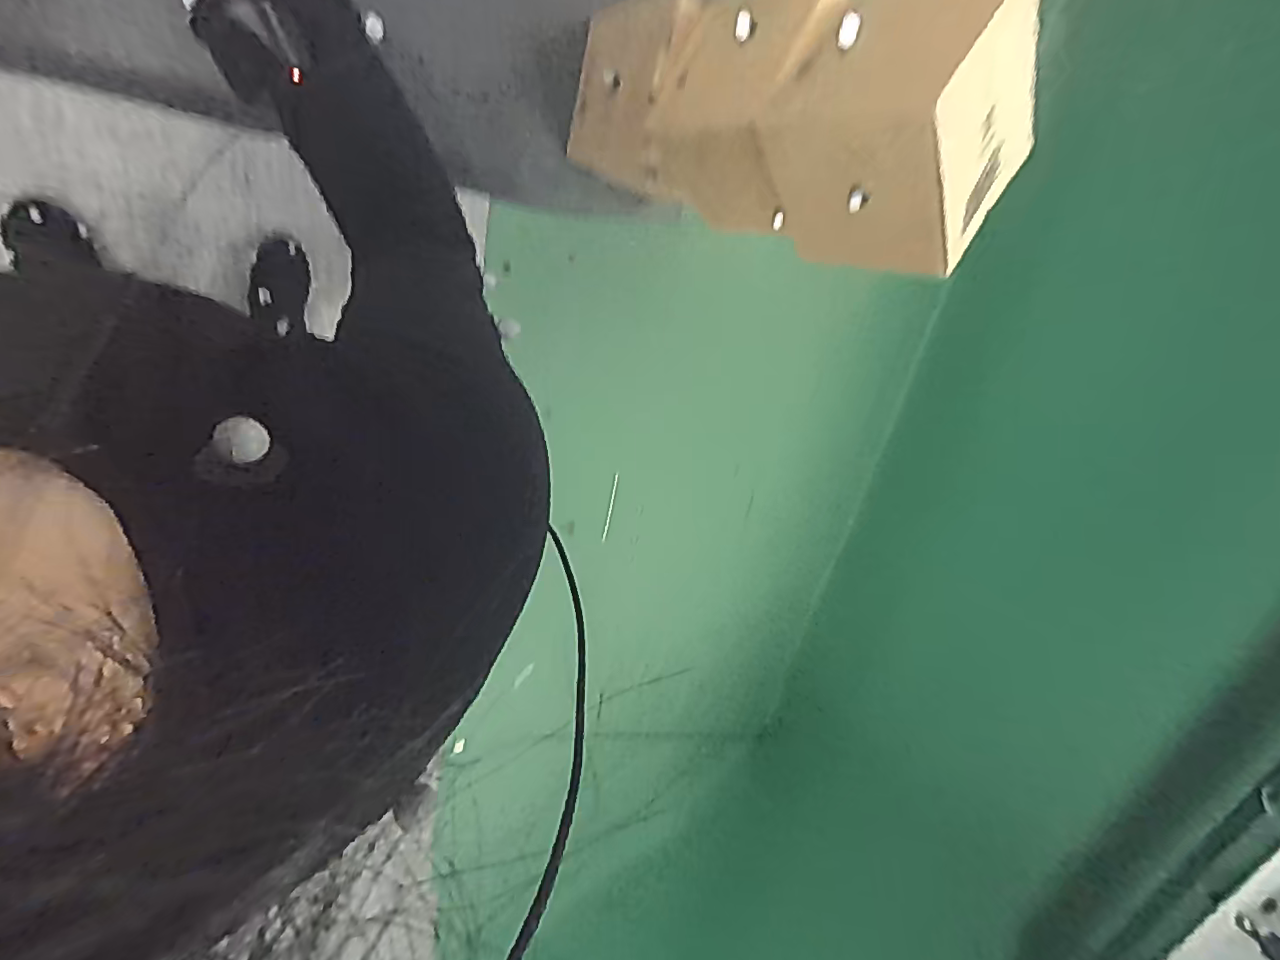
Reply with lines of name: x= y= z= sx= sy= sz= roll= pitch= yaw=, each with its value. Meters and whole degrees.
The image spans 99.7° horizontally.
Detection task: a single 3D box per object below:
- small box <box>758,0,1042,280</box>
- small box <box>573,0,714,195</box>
small box: x=0.243 y=-0.325 z=0.517 sx=0.168 sy=0.176 sz=0.179 roll=-55 pitch=139 yaw=-7
small box: x=0.035 y=-0.487 z=0.715 sx=0.179 sy=0.176 sz=0.168 roll=-3 pitch=114 yaw=-44
